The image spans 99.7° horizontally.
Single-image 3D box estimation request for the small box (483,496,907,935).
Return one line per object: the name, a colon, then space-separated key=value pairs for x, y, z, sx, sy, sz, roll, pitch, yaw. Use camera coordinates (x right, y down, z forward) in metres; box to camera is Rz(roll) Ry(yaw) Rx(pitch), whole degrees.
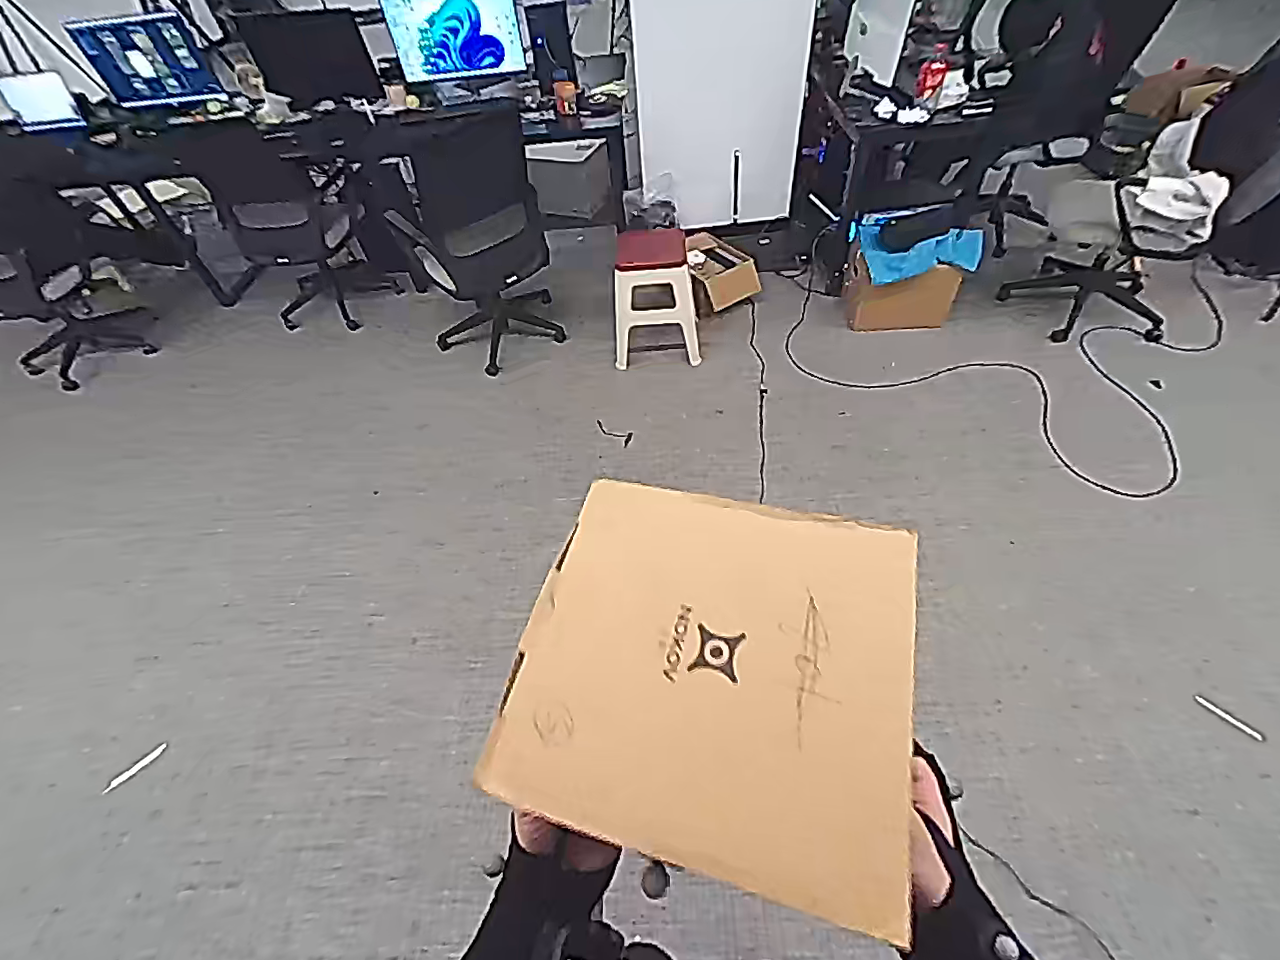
small box: x=0.043 y=0.132 z=0.323 sx=0.179 sy=0.176 sz=0.168 roll=9 pitch=59 yaw=15
